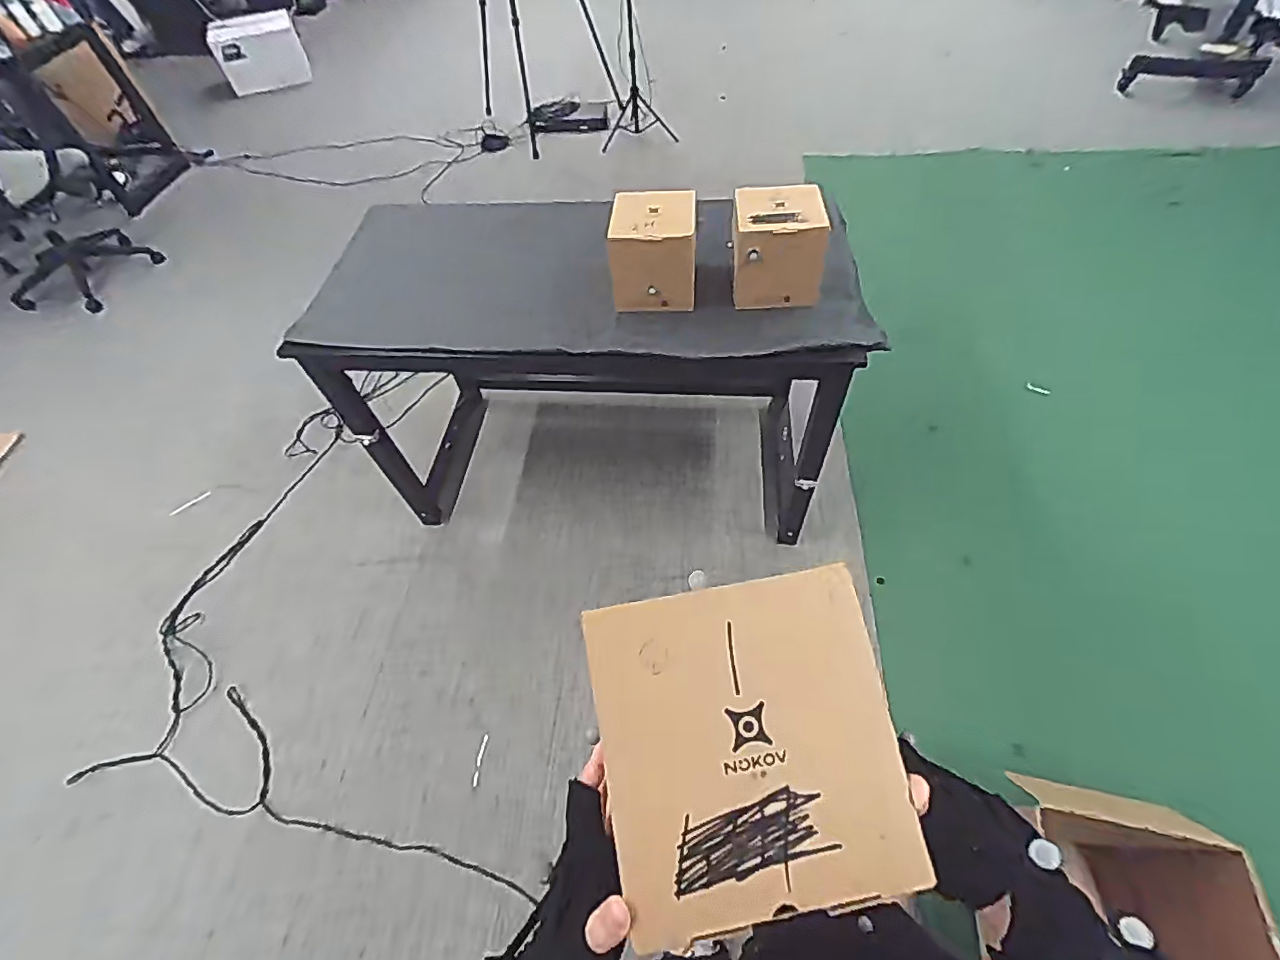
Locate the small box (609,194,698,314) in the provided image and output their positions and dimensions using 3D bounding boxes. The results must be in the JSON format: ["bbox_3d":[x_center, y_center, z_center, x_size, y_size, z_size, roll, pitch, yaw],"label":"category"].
[{"bbox_3d":[0.034,-0.469,1.126,0.168,0.176,0.179,1,54,6],"label":"small box"}]
